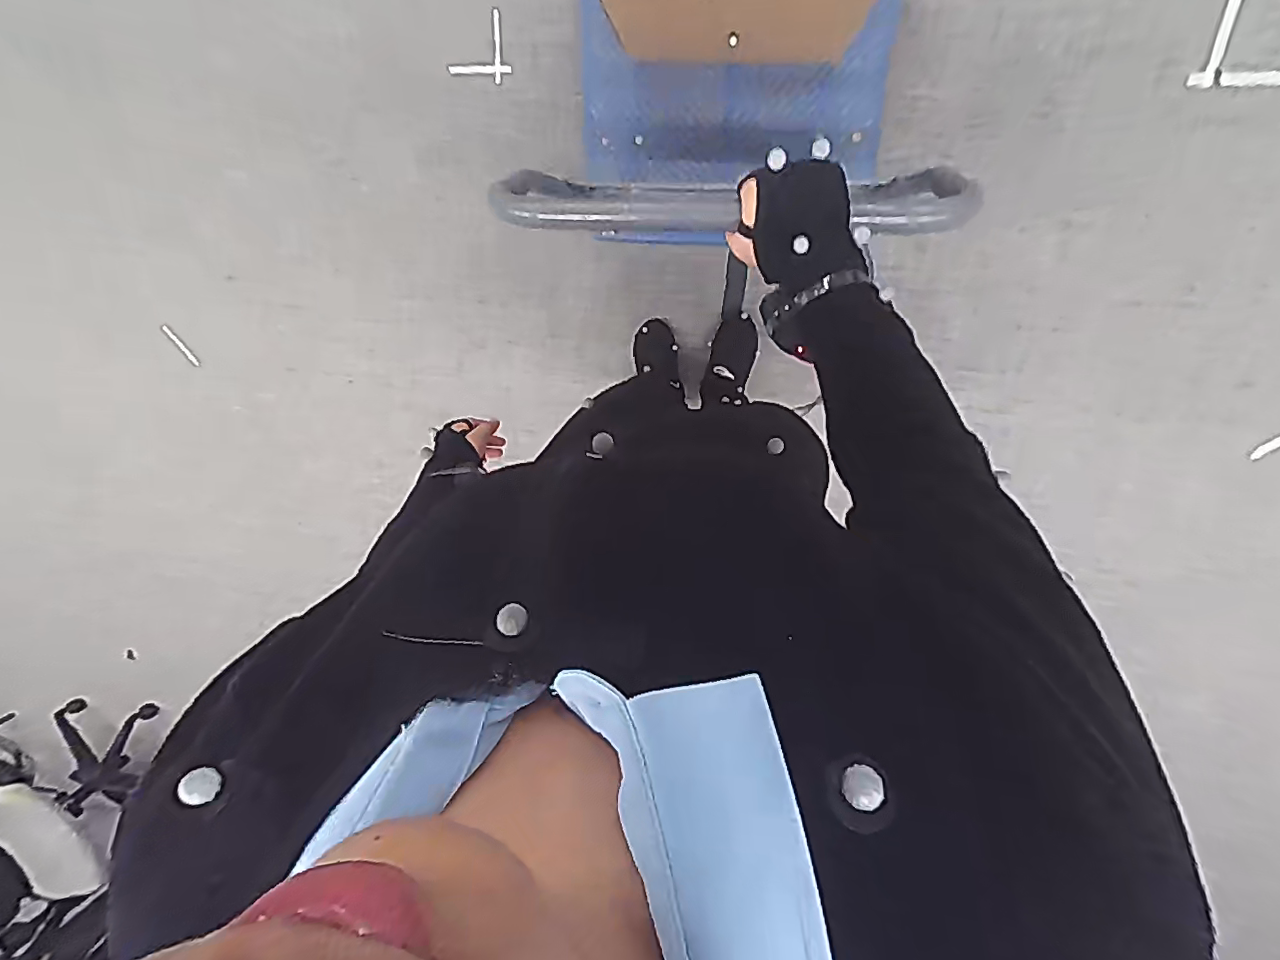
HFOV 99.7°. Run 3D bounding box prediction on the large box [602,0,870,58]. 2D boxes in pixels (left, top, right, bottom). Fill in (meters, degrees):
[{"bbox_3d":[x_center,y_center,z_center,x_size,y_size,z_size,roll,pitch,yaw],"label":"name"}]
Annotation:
[{"bbox_3d":[0.158,-0.881,0.821,0.408,0.320,0.320,6,110,8],"label":"large box"}]
